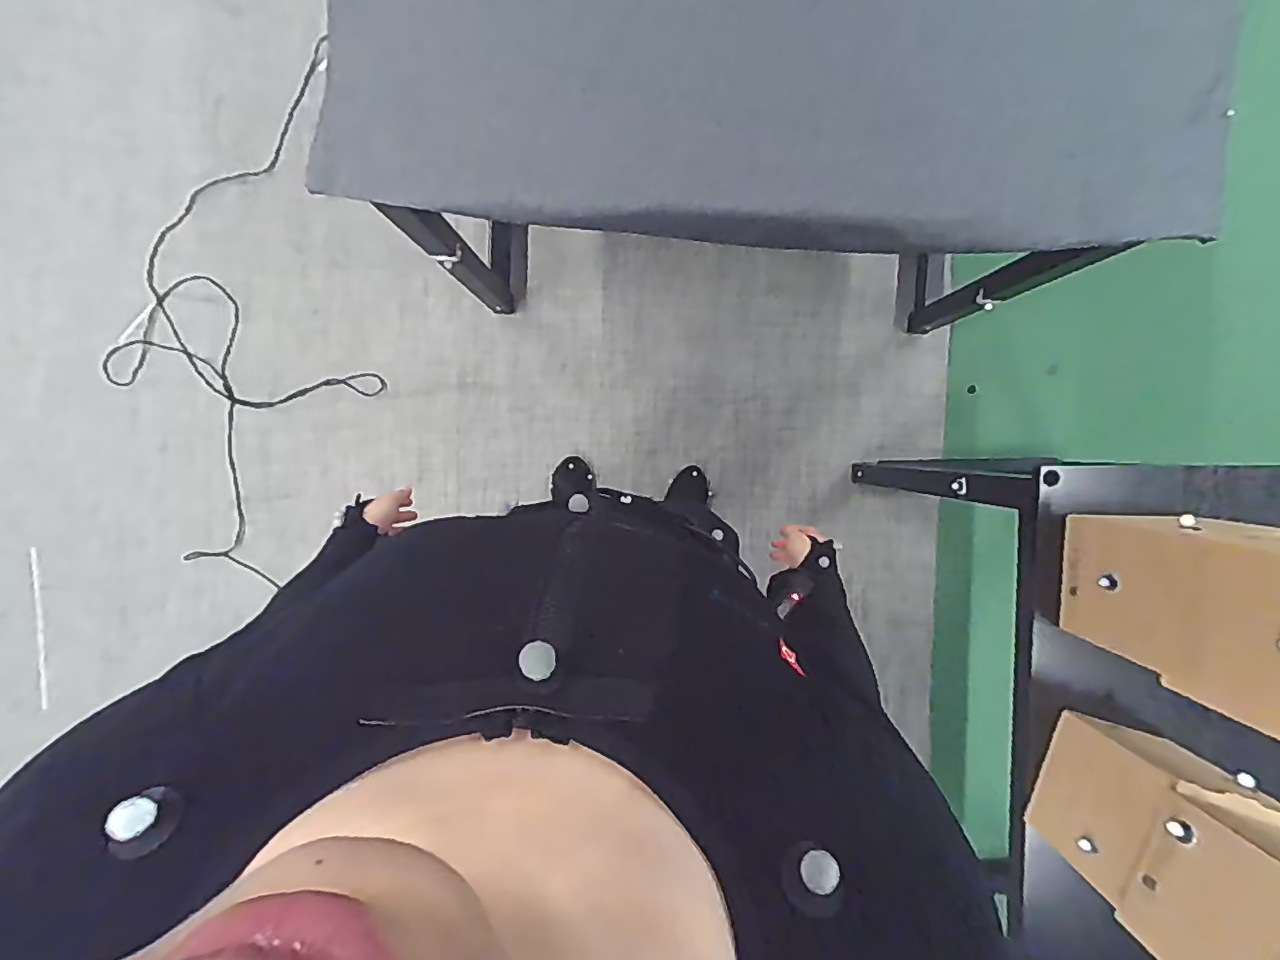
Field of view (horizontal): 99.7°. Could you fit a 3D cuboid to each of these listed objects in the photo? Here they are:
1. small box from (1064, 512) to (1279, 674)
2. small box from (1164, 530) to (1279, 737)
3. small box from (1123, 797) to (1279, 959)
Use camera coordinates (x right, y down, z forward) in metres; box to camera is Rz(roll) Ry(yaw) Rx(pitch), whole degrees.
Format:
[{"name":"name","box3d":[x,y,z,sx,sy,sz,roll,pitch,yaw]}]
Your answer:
[{"name":"small box","box3d":[0.678,0.133,0.676,0.179,0.176,0.168,1,95,1]},{"name":"small box","box3d":[0.660,0.150,0.515,0.168,0.176,0.179,1,94,1]},{"name":"small box","box3d":[0.647,0.454,0.534,0.179,0.176,0.168,19,95,-1]}]
